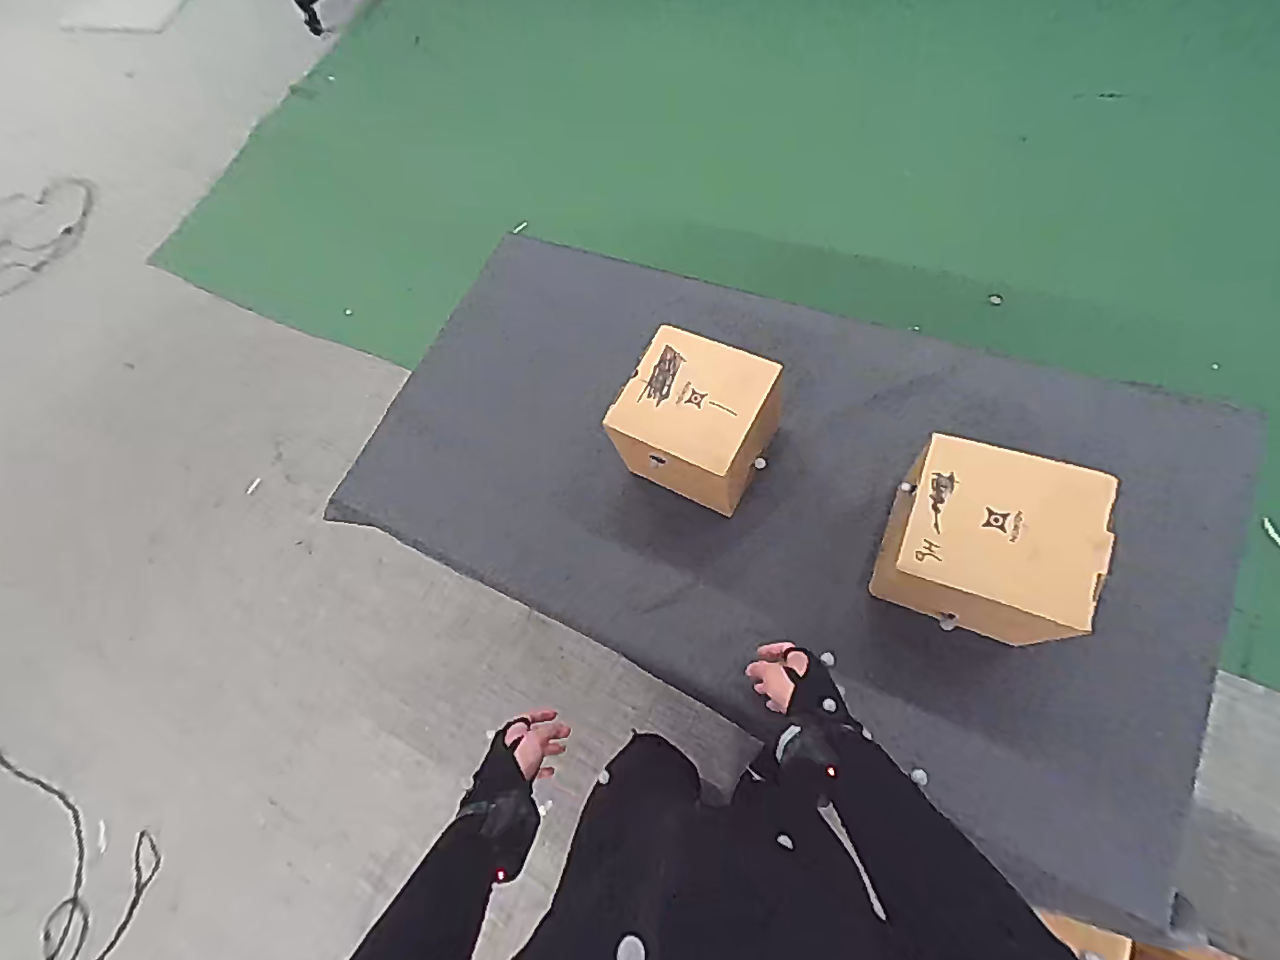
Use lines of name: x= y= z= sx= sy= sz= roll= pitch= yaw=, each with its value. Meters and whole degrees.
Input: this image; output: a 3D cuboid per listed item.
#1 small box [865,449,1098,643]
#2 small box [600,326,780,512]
small box: x=0.387 y=0.085 z=0.642 sx=0.179 sy=0.176 sz=0.168 roll=16 pitch=75 yaw=18
small box: x=0.077 y=-0.076 z=0.750 sx=0.179 sy=0.176 sz=0.168 roll=29 pitch=79 yaw=21
